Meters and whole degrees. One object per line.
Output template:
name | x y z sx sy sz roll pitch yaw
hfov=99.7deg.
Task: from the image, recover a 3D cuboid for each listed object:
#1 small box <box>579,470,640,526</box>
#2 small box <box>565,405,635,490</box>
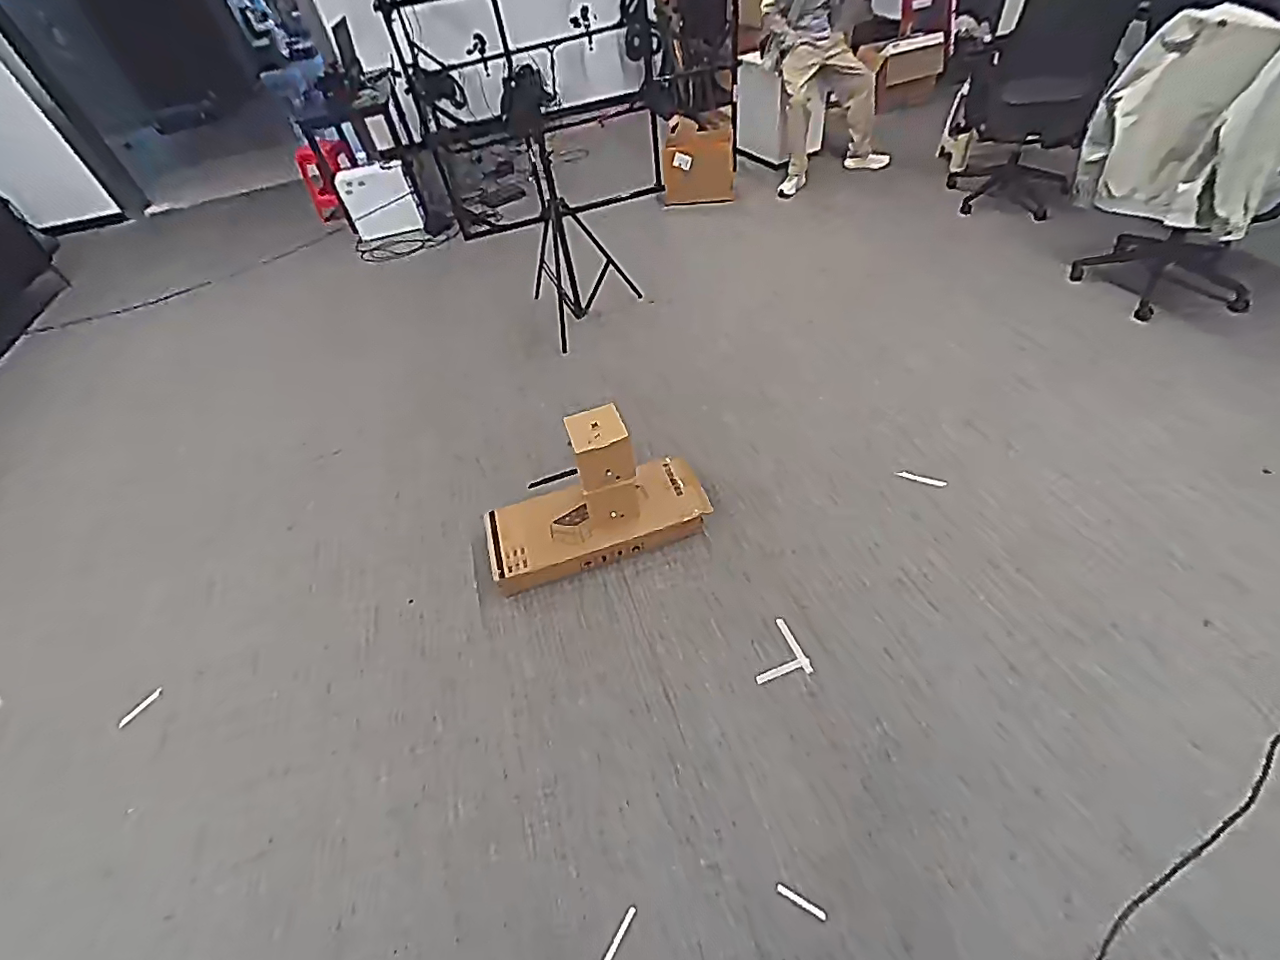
small box | -0.103 0.023 1.785 0.168 0.176 0.179 -15 48 -4
small box | -0.122 -0.100 1.675 0.168 0.176 0.179 -18 47 -7
